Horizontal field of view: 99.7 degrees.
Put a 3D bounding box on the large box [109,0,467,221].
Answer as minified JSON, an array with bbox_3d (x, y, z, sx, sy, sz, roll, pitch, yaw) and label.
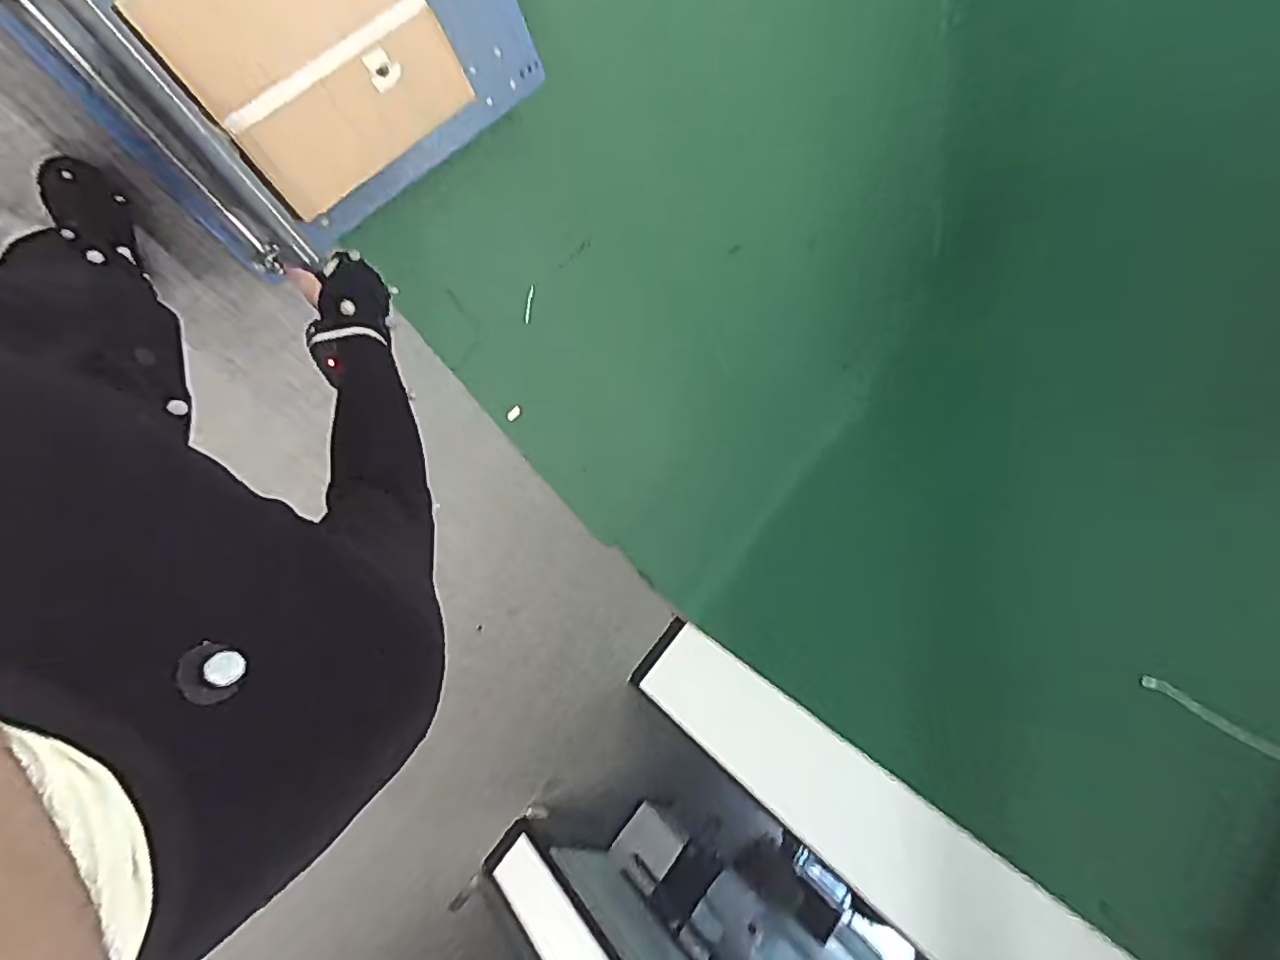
[{"bbox_3d":[-0.606,-0.724,0.958,0.408,0.320,0.320,-48,139,-15],"label":"large box"}]
